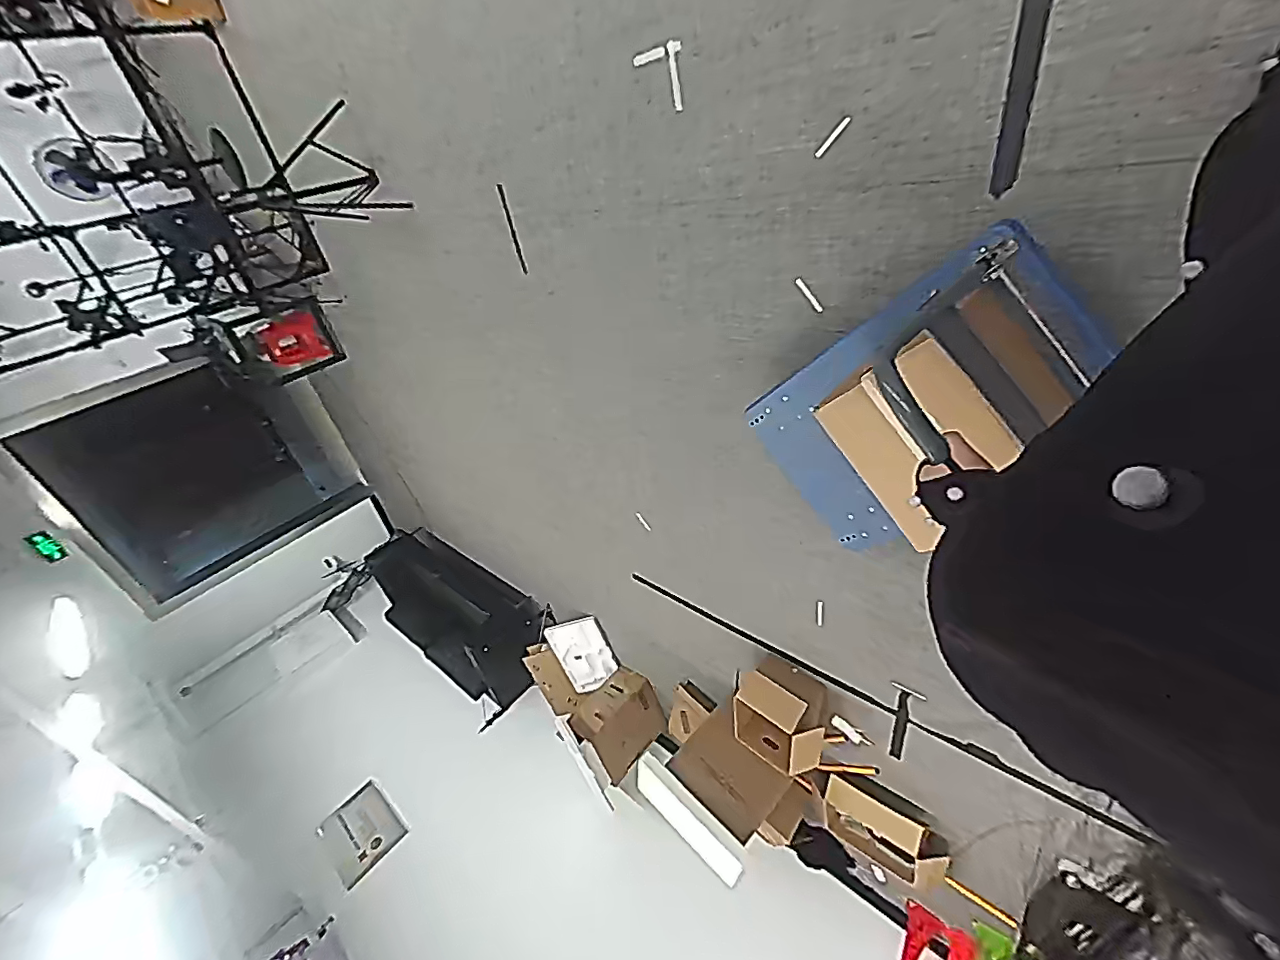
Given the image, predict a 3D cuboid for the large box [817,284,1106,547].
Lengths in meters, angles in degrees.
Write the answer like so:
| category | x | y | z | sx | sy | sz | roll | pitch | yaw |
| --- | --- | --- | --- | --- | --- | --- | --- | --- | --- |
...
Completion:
| category | x | y | z | sx | sy | sz | roll | pitch | yaw |
| --- | --- | --- | --- | --- | --- | --- | --- | --- | --- |
| large box | 0.681 | -0.131 | 1.160 | 0.408 | 0.320 | 0.320 | 53 | 146 | 1 |
